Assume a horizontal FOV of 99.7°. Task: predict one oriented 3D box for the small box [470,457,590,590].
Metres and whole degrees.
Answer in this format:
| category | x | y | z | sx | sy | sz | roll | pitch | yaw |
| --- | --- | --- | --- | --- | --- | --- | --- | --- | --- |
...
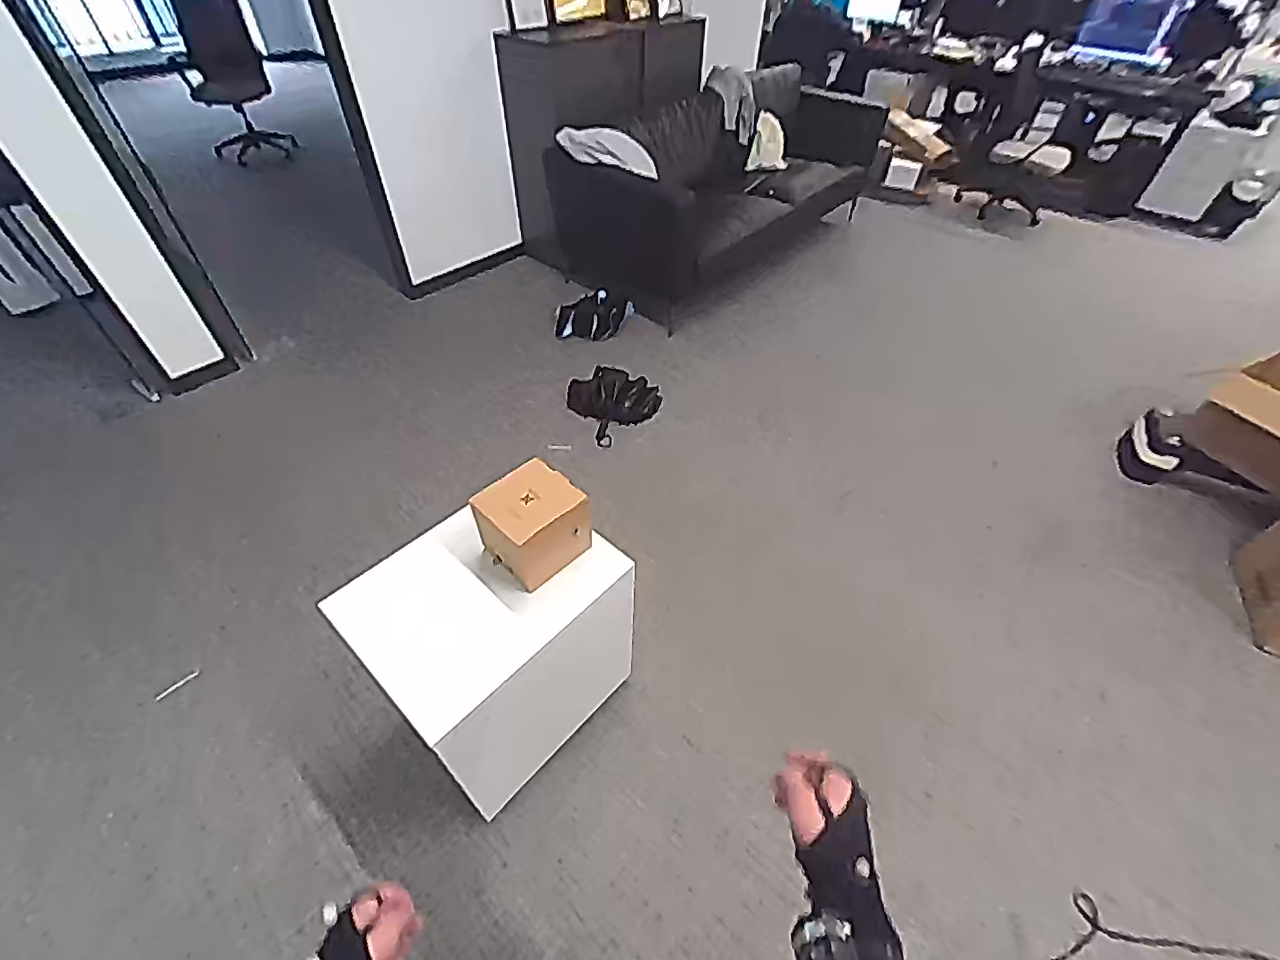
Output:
| category | x | y | z | sx | sy | sz | roll | pitch | yaw |
| --- | --- | --- | --- | --- | --- | --- | --- | --- | --- |
| small box | -0.219 | 0.091 | 1.120 | 0.168 | 0.176 | 0.179 | 35 | 56 | 28 |
